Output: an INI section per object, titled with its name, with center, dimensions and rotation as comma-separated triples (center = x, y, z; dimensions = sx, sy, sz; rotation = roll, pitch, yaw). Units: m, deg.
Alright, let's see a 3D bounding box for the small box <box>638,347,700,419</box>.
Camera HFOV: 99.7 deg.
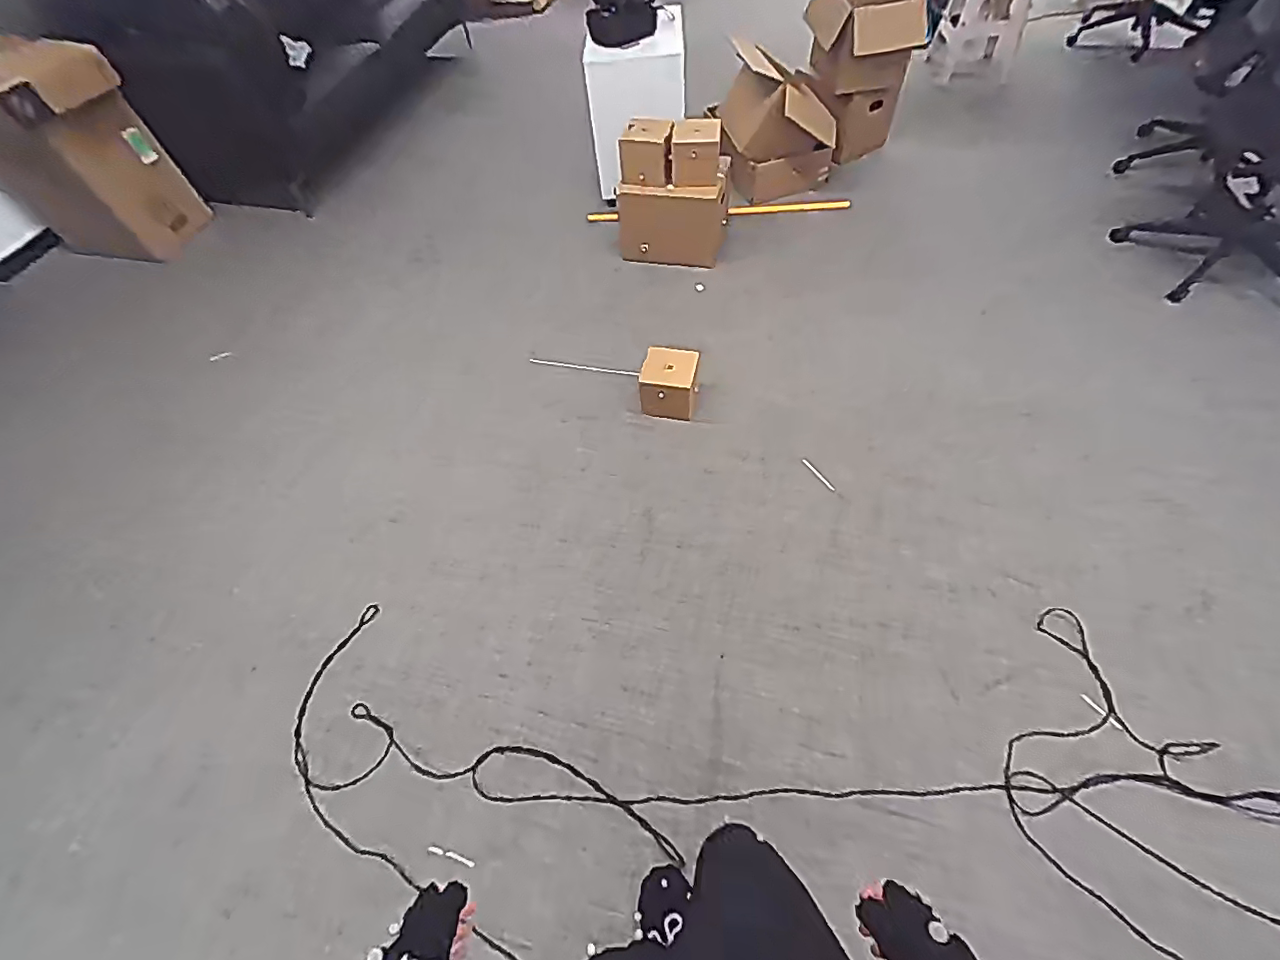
[small box]
center = 0.103, -0.325, 1.827
dimensions = 0.179, 0.176, 0.168
rotation = 9, 59, 12
